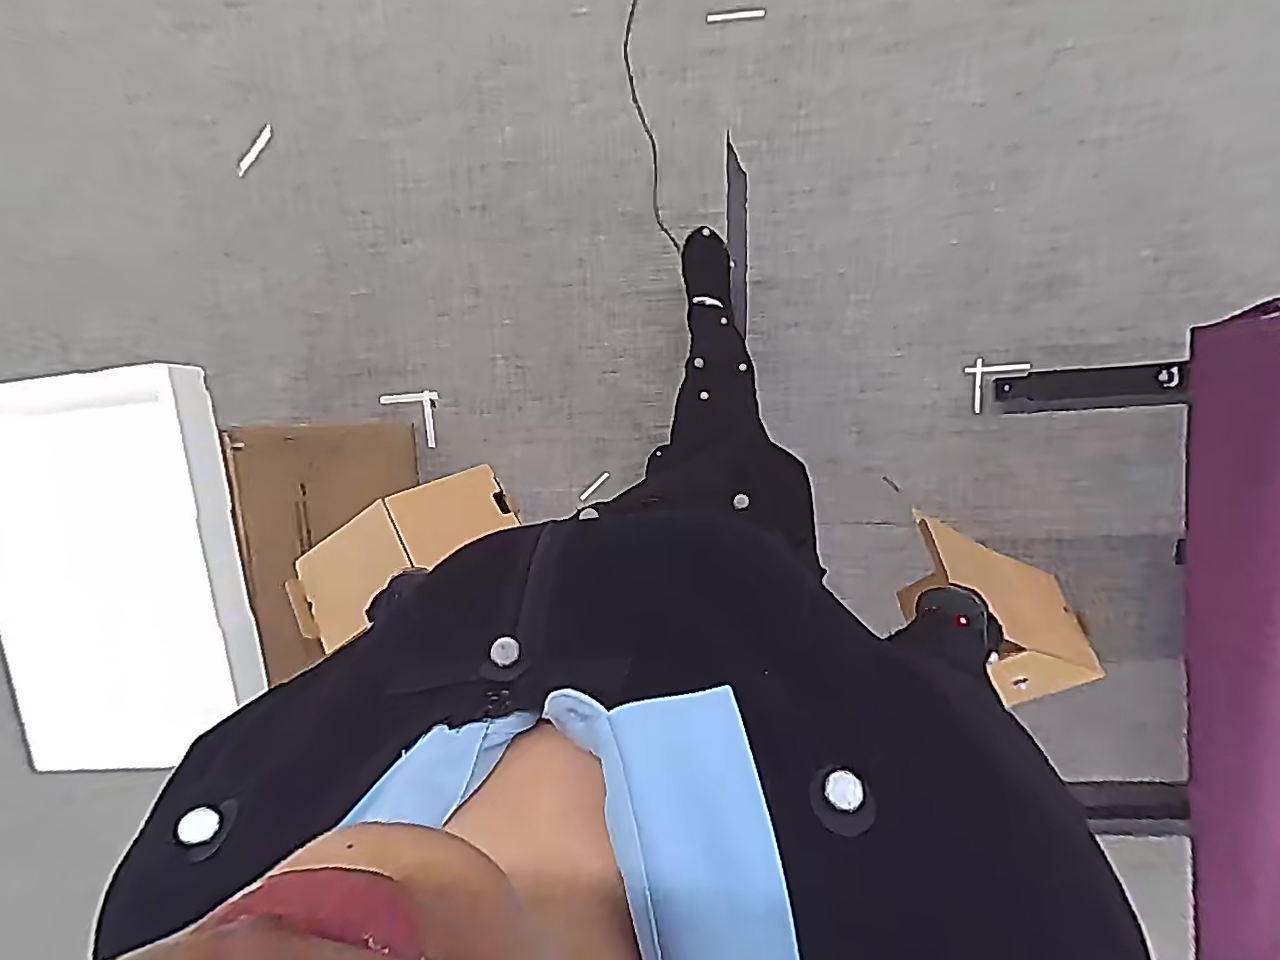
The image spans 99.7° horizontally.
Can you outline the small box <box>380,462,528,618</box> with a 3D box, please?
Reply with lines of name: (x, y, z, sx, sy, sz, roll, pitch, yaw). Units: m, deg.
small box: (-0.303, 0.103, 0.896, 0.179, 0.176, 0.168, -22, 66, -28)
